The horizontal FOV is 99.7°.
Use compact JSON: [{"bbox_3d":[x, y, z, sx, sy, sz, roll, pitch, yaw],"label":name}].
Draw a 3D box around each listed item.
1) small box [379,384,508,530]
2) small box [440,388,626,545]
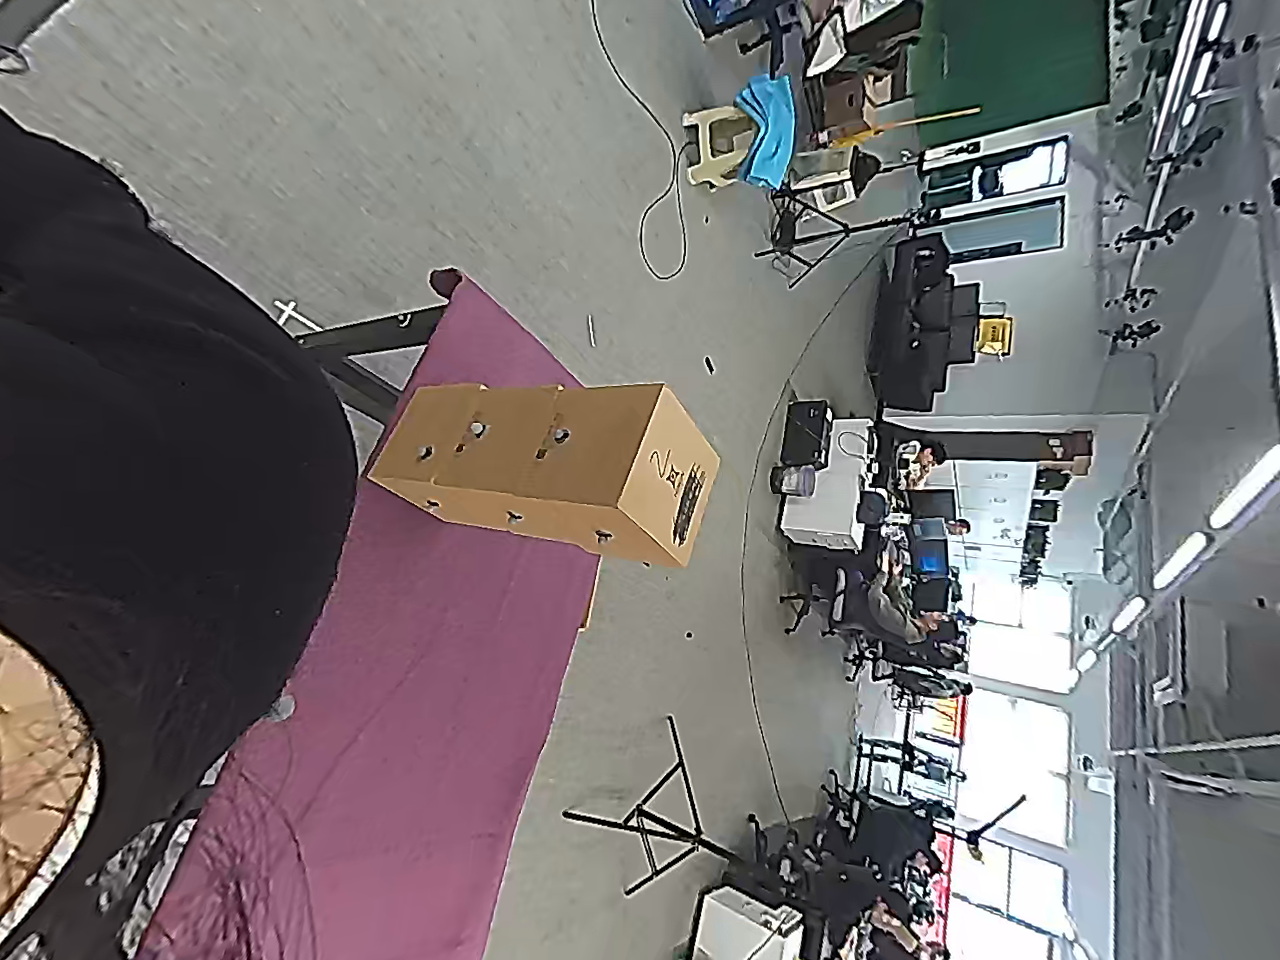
[{"bbox_3d":[-0.292,-0.036,0.888,0.168,0.176,0.179,46,56,-48],"label":"small box"},{"bbox_3d":[-0.154,-0.020,0.801,0.179,0.176,0.168,43,58,-47],"label":"small box"}]
